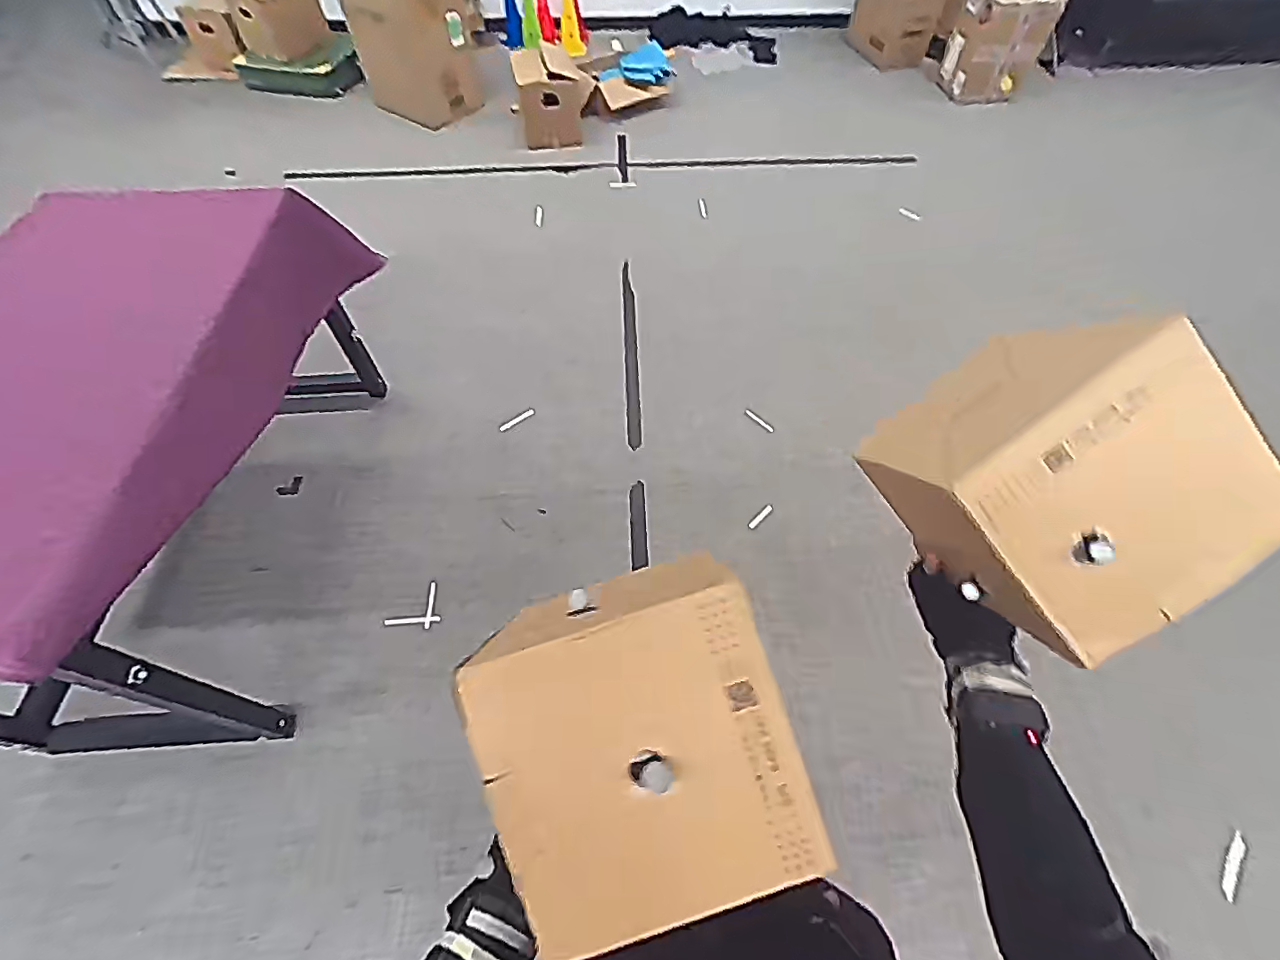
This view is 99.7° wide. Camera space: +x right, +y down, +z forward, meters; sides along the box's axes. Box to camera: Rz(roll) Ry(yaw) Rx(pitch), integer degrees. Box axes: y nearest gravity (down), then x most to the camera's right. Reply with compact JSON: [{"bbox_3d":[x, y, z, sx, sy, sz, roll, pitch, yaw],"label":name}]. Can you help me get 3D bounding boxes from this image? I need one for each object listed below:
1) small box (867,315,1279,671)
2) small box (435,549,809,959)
[{"bbox_3d":[0.307,-0.002,0.409,0.168,0.179,0.176,-38,98,7],"label":"small box"},{"bbox_3d":[-0.006,0.152,0.364,0.176,0.179,0.168,-18,87,-2],"label":"small box"}]
